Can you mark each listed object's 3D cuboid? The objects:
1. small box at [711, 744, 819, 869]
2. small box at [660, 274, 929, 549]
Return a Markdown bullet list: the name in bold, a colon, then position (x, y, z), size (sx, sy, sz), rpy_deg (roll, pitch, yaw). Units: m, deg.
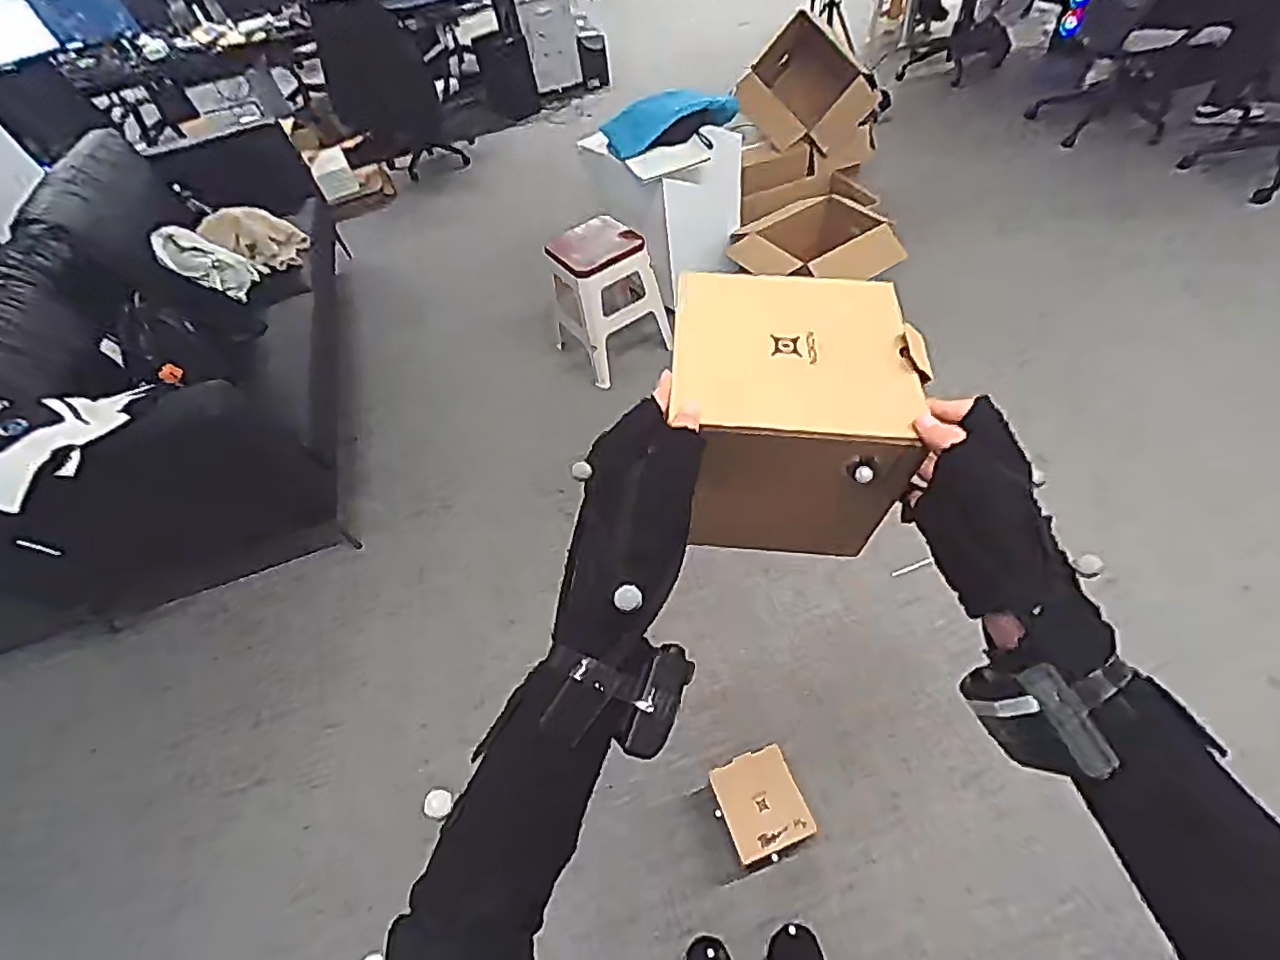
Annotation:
- **small box**: position (0.262, 0.708, 1.168), size (0.168, 0.176, 0.179), rpy_deg (-20, 51, -5)
- **small box**: position (0.109, -0.052, 0.463), size (0.179, 0.176, 0.168), rpy_deg (4, 55, 3)
